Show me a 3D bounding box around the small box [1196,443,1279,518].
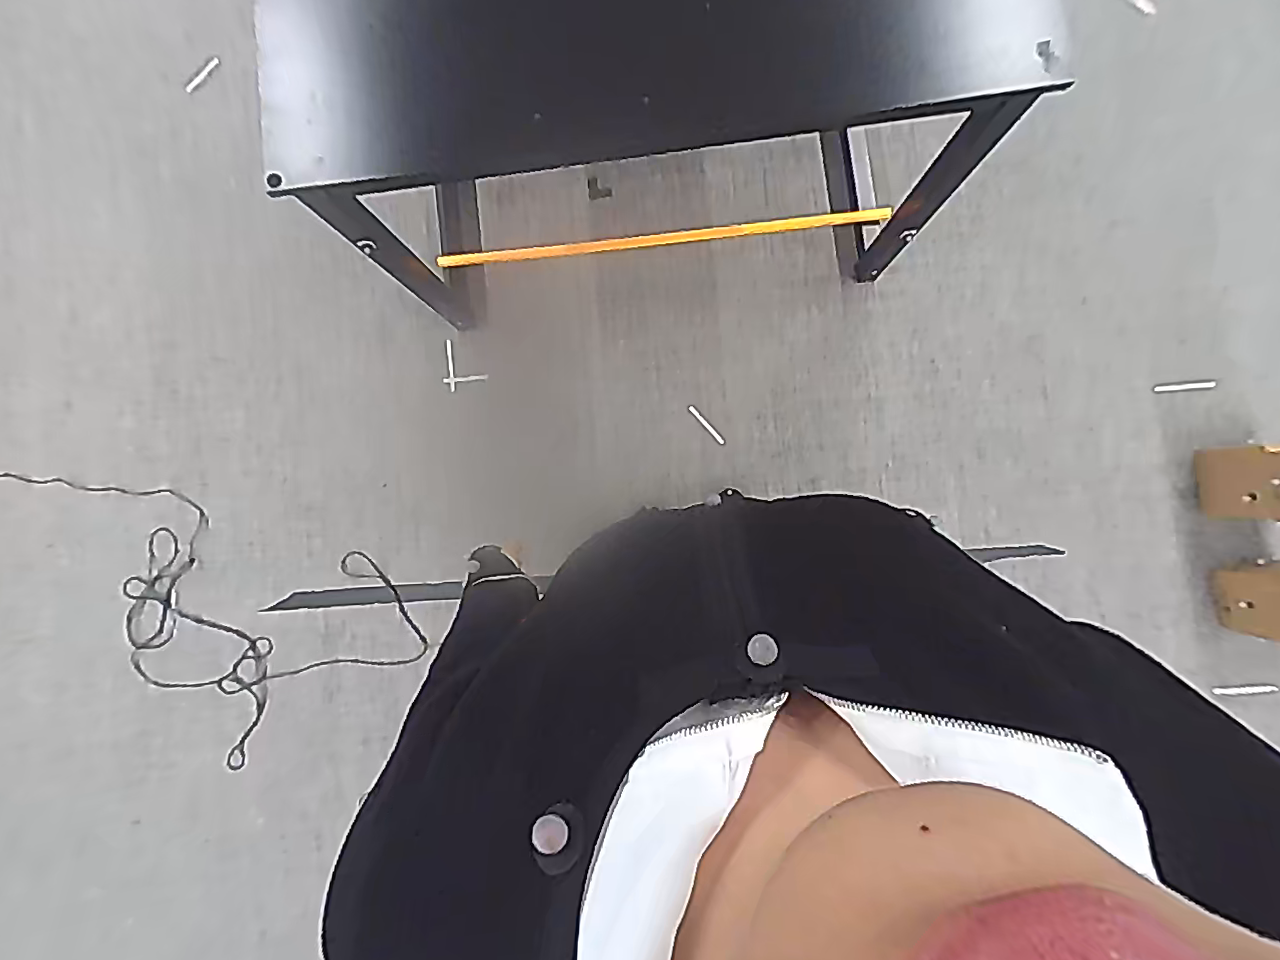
[{"bbox_3d":[1.543,0.000,1.337,0.168,0.176,0.179,-4,87,3],"label":"small box"}]

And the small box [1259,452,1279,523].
[{"bbox_3d":[1.531,0.010,1.175,0.179,0.176,0.168,-4,87,4],"label":"small box"}]

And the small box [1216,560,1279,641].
[{"bbox_3d":[1.581,0.295,1.326,0.179,0.176,0.168,-8,87,4],"label":"small box"}]
